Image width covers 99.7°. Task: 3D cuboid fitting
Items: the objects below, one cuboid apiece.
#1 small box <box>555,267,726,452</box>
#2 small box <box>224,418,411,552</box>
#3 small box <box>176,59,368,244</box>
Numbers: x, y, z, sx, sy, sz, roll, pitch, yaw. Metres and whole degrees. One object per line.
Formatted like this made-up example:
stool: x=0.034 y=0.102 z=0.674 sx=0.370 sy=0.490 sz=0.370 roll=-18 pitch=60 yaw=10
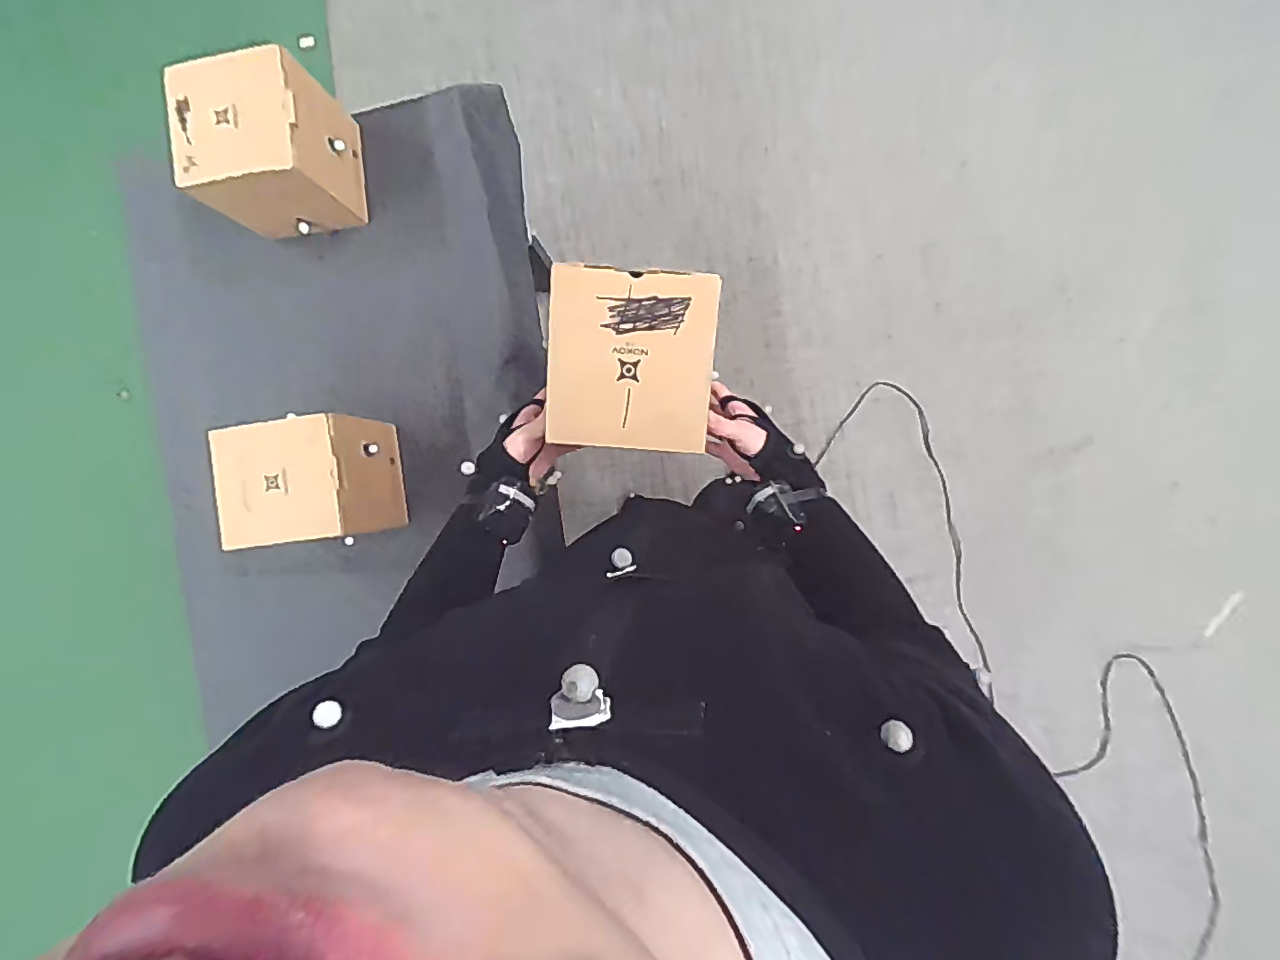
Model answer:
small box: x=-0.001 y=-0.135 z=0.624 sx=0.168 sy=0.176 sz=0.179 roll=4 pitch=102 yaw=0
small box: x=-0.466 y=0.007 z=0.811 sx=0.179 sy=0.176 sz=0.168 roll=-9 pitch=88 yaw=7
small box: x=-0.534 y=-0.477 z=0.812 sx=0.179 sy=0.176 sz=0.168 roll=-6 pitch=90 yaw=5
